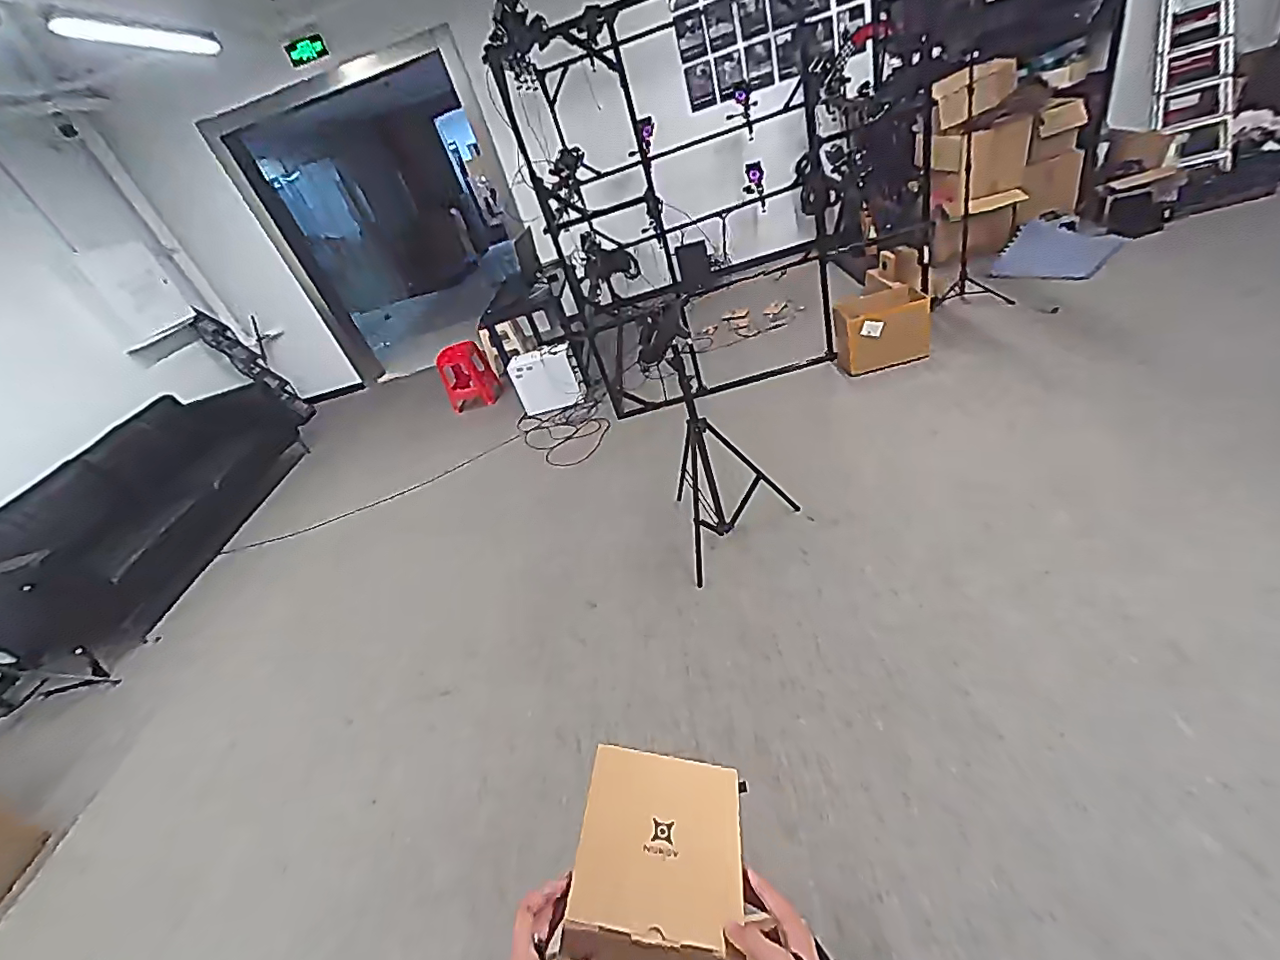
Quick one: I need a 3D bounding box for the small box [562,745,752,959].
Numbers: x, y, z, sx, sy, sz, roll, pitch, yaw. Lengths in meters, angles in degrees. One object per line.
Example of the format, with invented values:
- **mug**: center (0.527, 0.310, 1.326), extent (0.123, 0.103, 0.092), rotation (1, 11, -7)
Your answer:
- **small box**: center (0.015, 0.429, 0.584), extent (0.168, 0.176, 0.179), rotation (10, 31, 1)
